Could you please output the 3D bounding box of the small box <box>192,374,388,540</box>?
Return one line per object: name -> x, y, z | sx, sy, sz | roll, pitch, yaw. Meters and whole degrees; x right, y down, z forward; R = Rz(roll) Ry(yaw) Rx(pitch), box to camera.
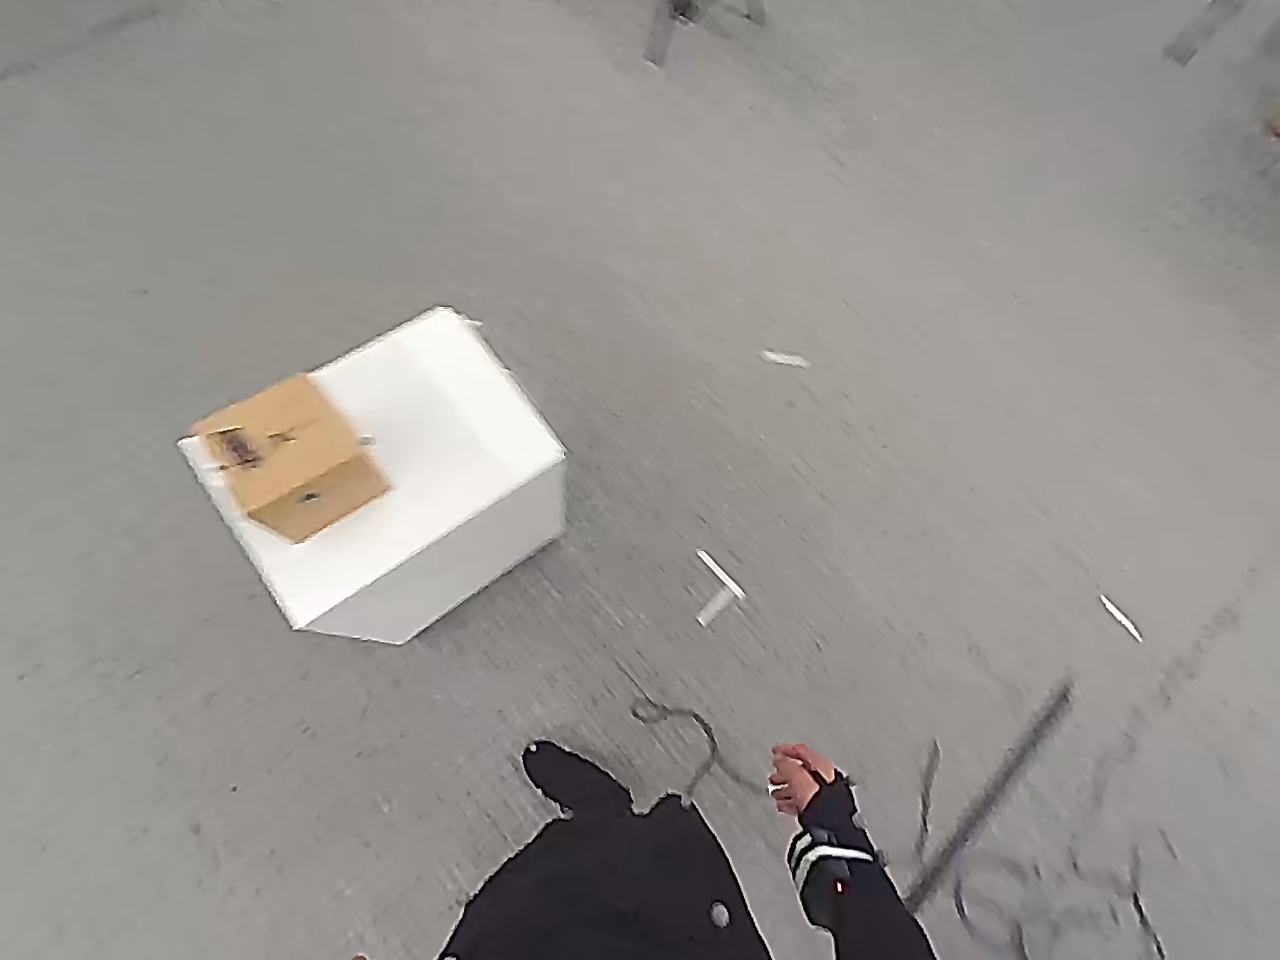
small box -> -0.536, -0.028, 0.854 | 0.179, 0.176, 0.168 | -34, 78, -19
